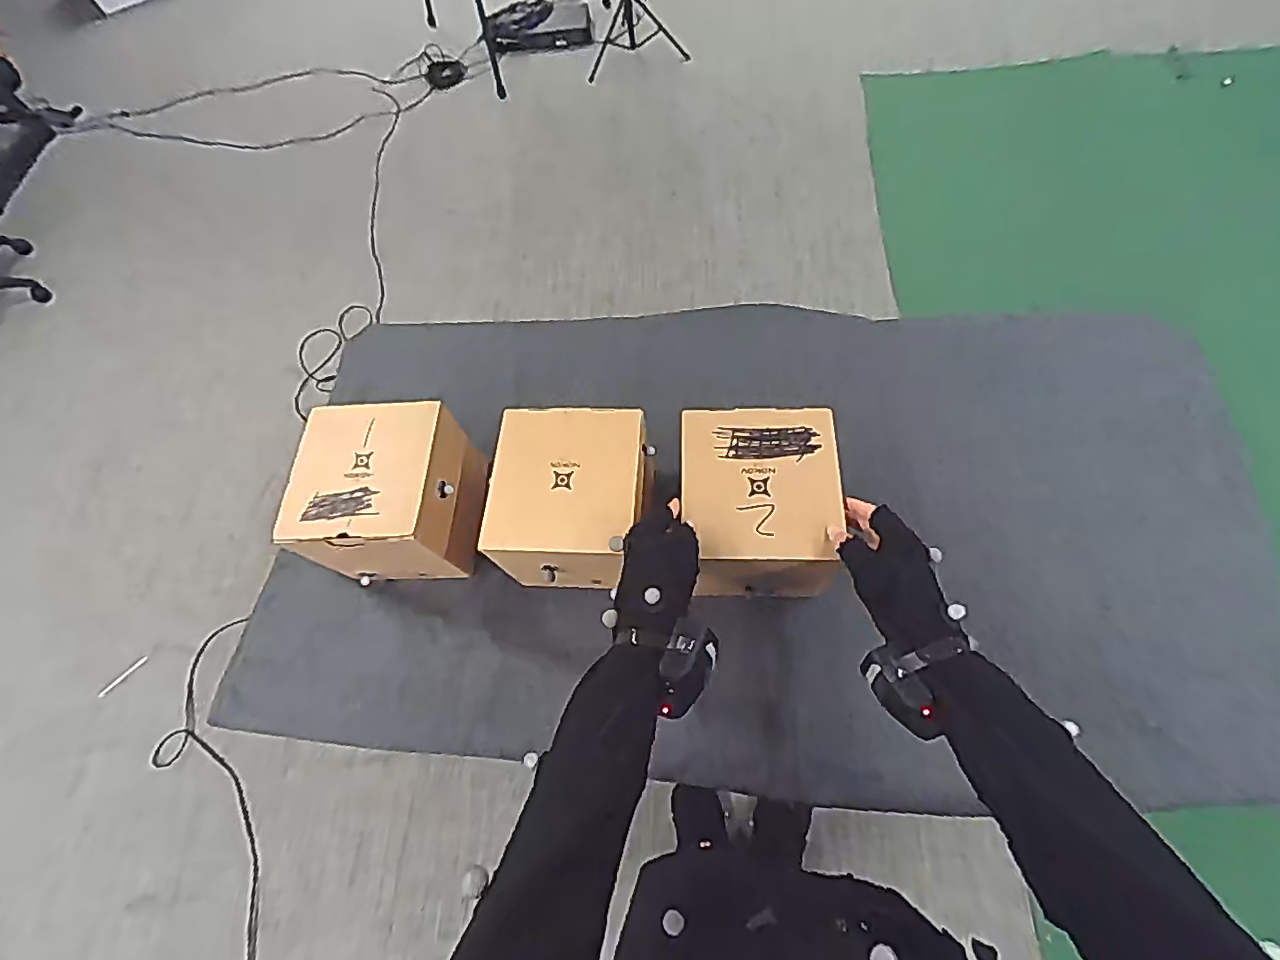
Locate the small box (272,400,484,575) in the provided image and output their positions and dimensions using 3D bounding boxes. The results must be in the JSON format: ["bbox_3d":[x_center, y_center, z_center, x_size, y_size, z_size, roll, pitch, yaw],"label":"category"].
[{"bbox_3d":[-0.311,0.020,0.686,0.168,0.176,0.179,-2,64,5],"label":"small box"}]

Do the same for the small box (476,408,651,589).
[{"bbox_3d":[-0.077,0.030,0.658,0.168,0.176,0.179,1,65,7],"label":"small box"}]
